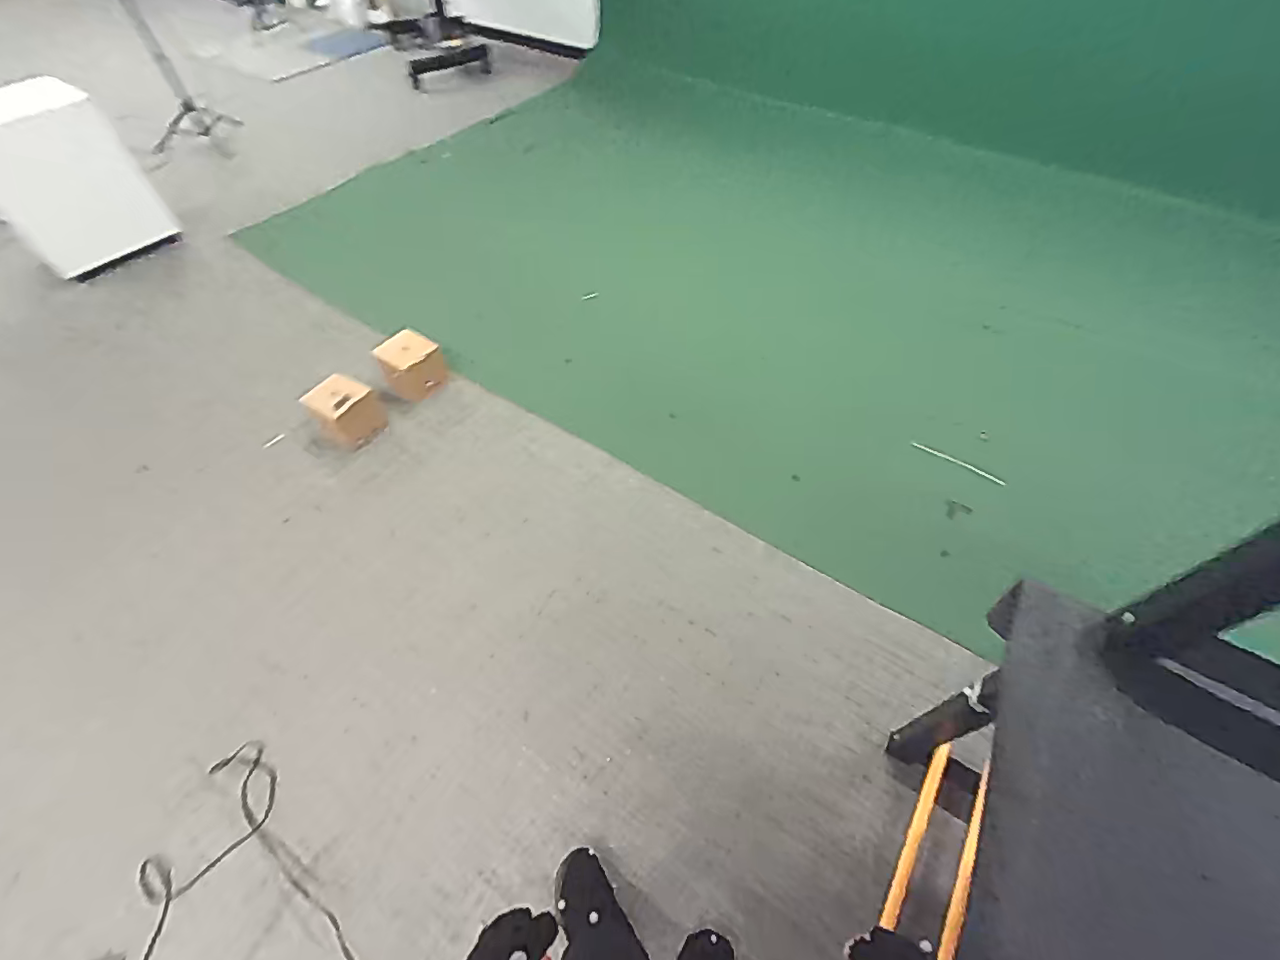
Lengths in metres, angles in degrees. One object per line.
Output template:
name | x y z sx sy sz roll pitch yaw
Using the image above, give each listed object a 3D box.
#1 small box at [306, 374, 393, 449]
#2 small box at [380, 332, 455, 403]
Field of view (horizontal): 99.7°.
small box | -1.004 -0.232 1.887 0.179 0.176 0.168 25 56 18
small box | -0.832 -0.419 2.033 0.179 0.176 0.168 29 58 19
